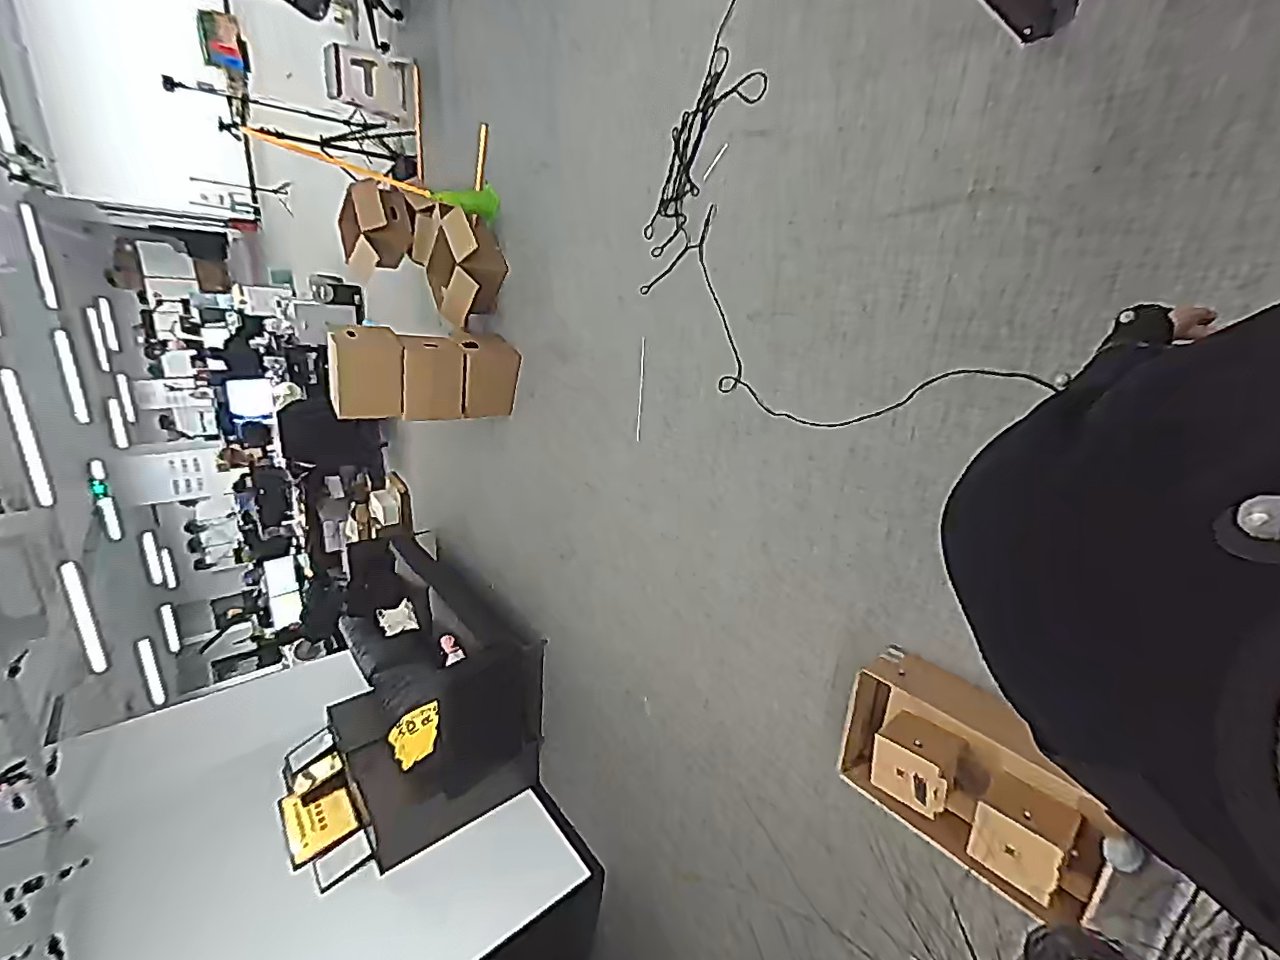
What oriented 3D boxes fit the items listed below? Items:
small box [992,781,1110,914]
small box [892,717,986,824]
[{"bbox_3d":[0.994,0.873,1.307,0.179,0.176,0.168,20,113,51],"label":"small box"},{"bbox_3d":[0.832,0.794,1.502,0.179,0.176,0.168,14,109,51],"label":"small box"}]
